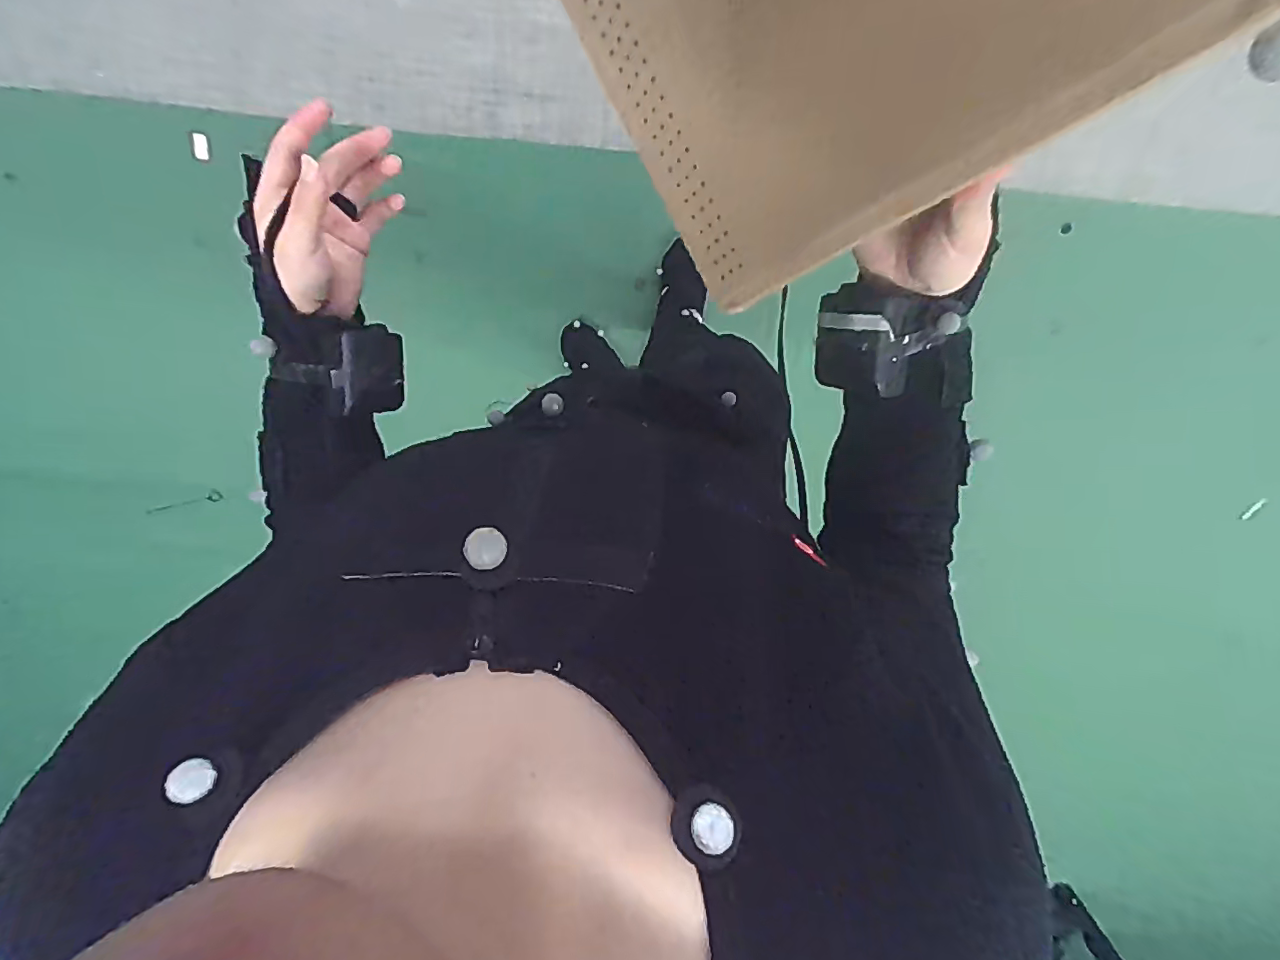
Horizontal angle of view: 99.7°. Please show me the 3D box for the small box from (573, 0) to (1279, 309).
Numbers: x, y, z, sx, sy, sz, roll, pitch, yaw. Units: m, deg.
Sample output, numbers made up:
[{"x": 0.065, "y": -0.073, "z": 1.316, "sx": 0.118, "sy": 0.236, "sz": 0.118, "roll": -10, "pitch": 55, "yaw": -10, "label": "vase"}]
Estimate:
[{"x": 0.090, "y": -0.186, "z": 0.173, "sx": 0.168, "sy": 0.176, "sz": 0.179, "roll": -36, "pitch": 102, "yaw": -16, "label": "small box"}]
